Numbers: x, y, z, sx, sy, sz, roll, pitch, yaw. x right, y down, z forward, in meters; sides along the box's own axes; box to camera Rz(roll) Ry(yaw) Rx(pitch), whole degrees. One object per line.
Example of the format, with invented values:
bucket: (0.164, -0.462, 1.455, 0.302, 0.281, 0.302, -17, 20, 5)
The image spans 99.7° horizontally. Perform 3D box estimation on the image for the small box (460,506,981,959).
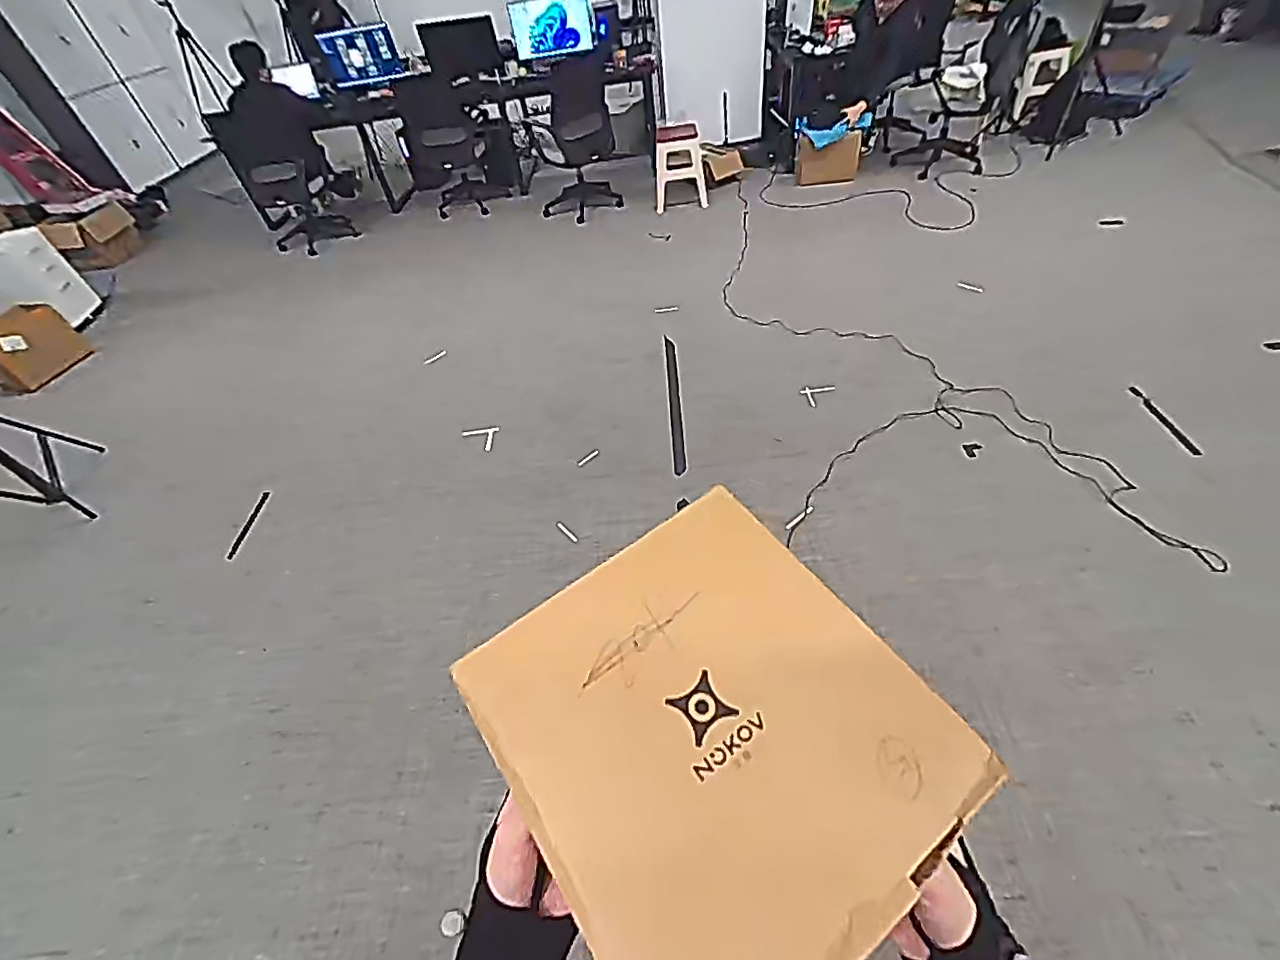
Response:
small box: (0.032, 0.154, 0.306, 0.168, 0.176, 0.179, -32, 58, -19)
